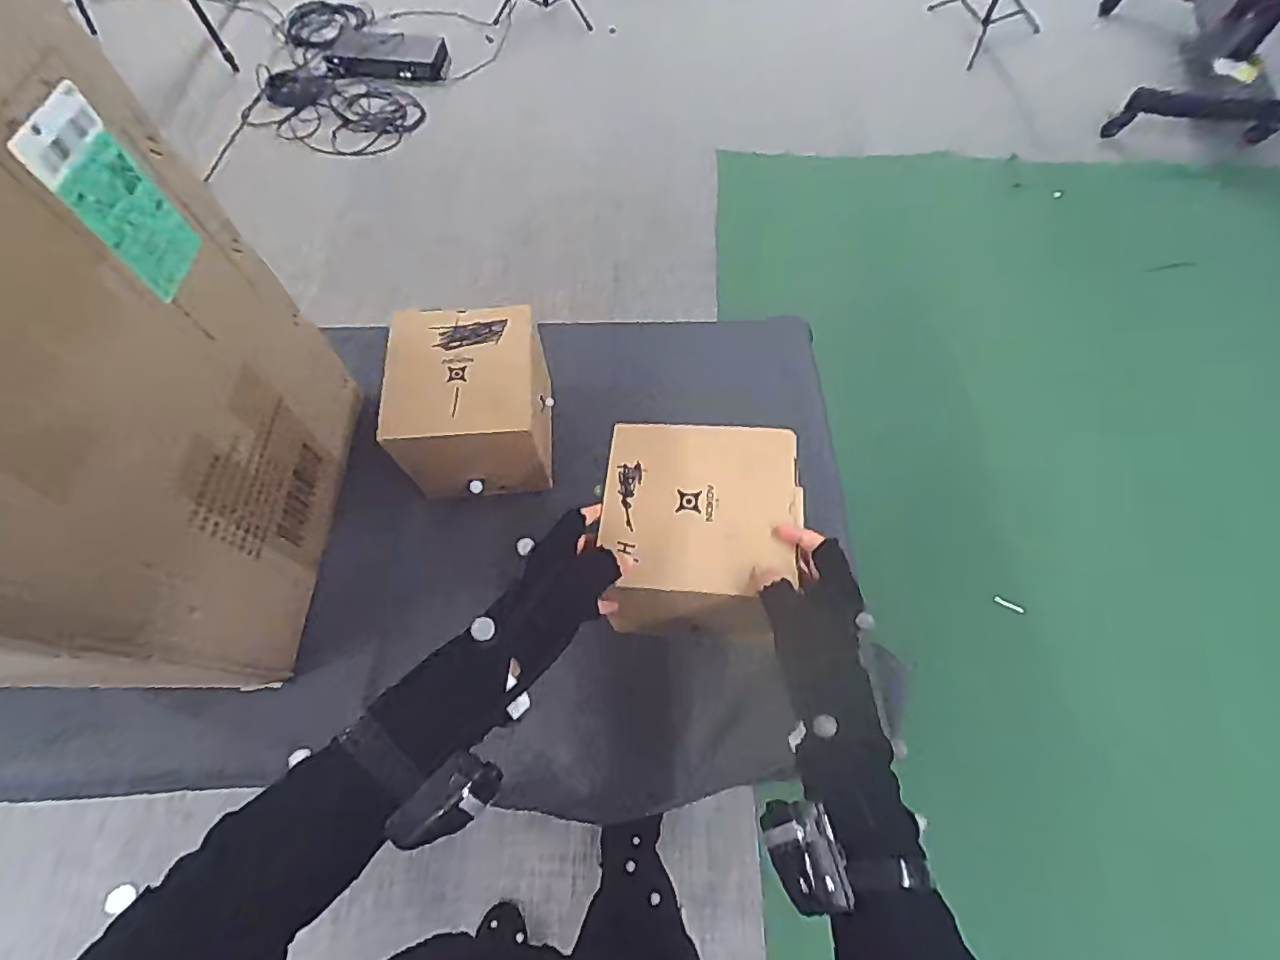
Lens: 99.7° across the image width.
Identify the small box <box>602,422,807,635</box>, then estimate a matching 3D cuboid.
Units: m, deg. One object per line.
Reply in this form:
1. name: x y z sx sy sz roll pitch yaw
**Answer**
1. small box: 0.067 0.058 0.563 0.179 0.176 0.168 4 62 7
